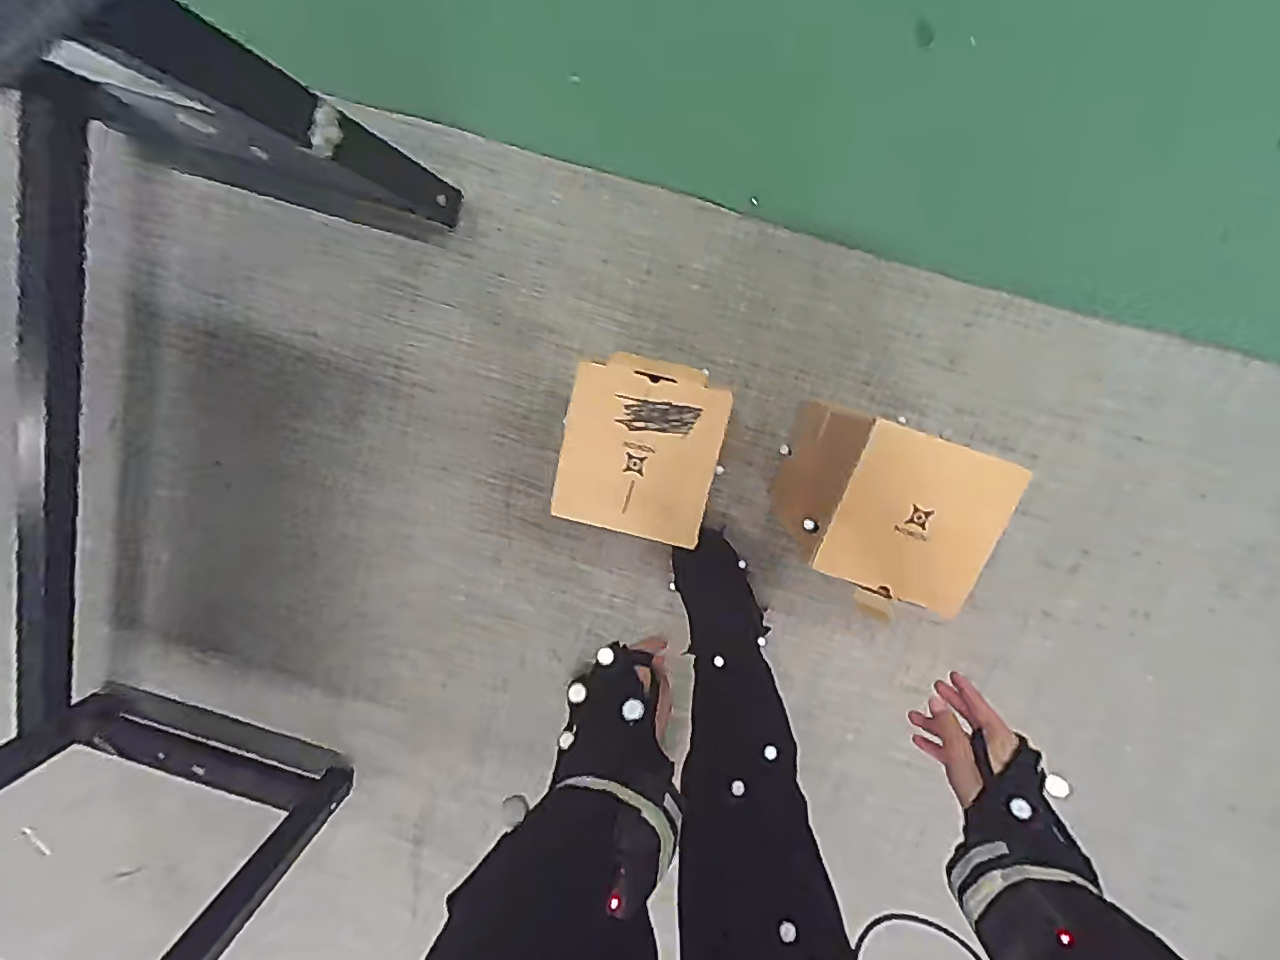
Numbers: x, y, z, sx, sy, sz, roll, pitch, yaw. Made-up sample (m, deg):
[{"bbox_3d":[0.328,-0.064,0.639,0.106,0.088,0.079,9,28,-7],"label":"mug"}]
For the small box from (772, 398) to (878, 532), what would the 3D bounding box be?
[{"bbox_3d":[0.302,-0.008,0.788,0.168,0.176,0.179,18,105,1],"label":"small box"}]

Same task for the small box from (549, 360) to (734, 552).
[{"bbox_3d":[0.006,-0.040,0.643,0.168,0.176,0.179,13,104,4],"label":"small box"}]

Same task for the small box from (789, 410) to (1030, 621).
[{"bbox_3d":[0.289,0.026,0.629,0.168,0.176,0.179,19,104,1],"label":"small box"}]
